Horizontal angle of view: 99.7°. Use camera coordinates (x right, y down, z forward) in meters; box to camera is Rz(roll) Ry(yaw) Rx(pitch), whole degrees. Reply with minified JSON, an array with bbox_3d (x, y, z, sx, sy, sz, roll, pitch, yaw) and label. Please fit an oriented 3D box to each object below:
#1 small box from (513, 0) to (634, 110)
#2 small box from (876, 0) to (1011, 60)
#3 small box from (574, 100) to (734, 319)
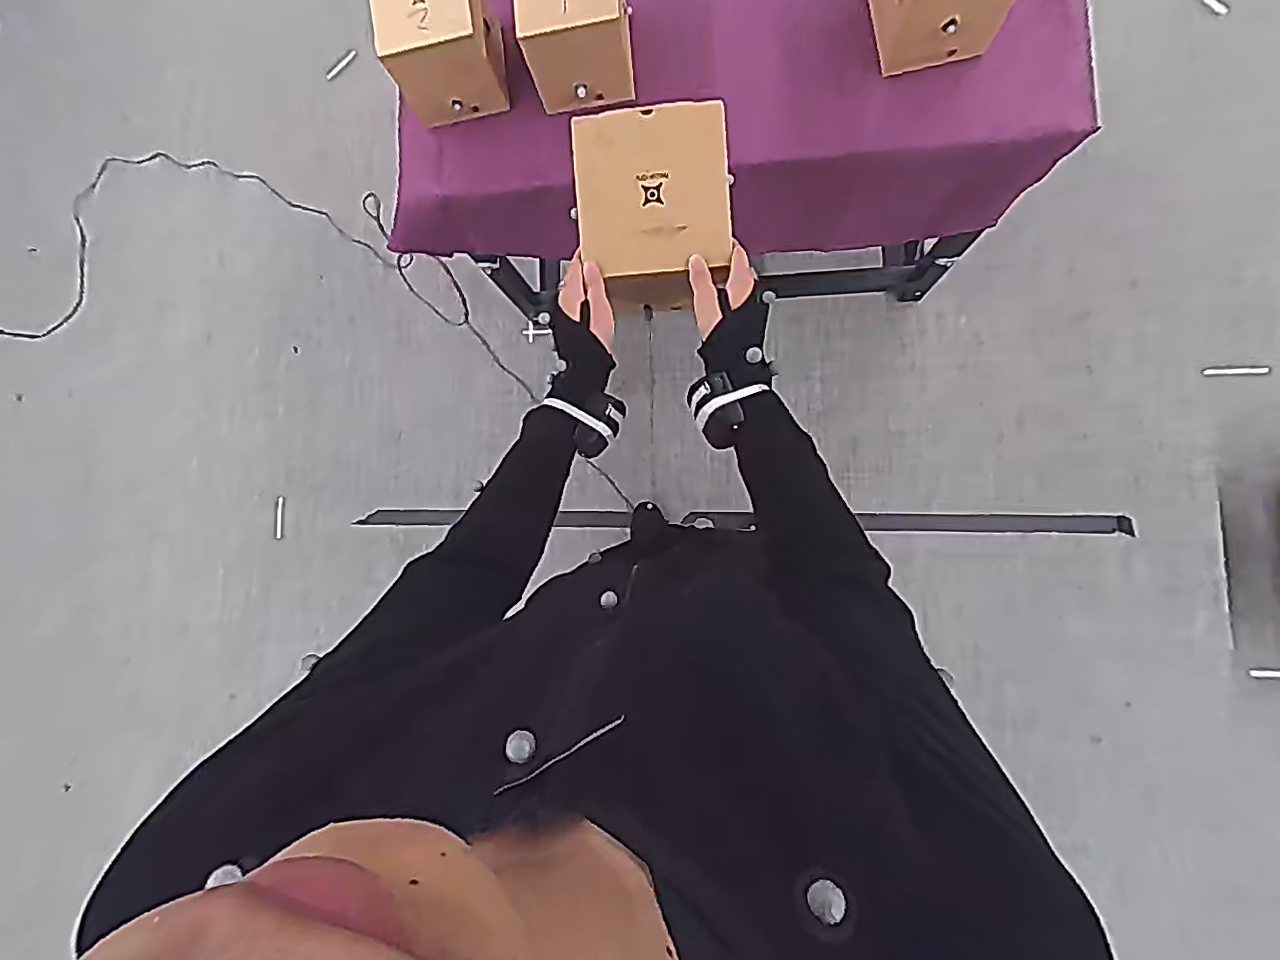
[{"bbox_3d":[-0.106,-0.769,0.901,0.168,0.176,0.179,-5,86,8],"label":"small box"},{"bbox_3d":[0.469,-0.786,0.820,0.168,0.176,0.179,-8,85,7],"label":"small box"},{"bbox_3d":[0.018,-0.308,0.650,0.168,0.176,0.179,-4,91,4],"label":"small box"}]
